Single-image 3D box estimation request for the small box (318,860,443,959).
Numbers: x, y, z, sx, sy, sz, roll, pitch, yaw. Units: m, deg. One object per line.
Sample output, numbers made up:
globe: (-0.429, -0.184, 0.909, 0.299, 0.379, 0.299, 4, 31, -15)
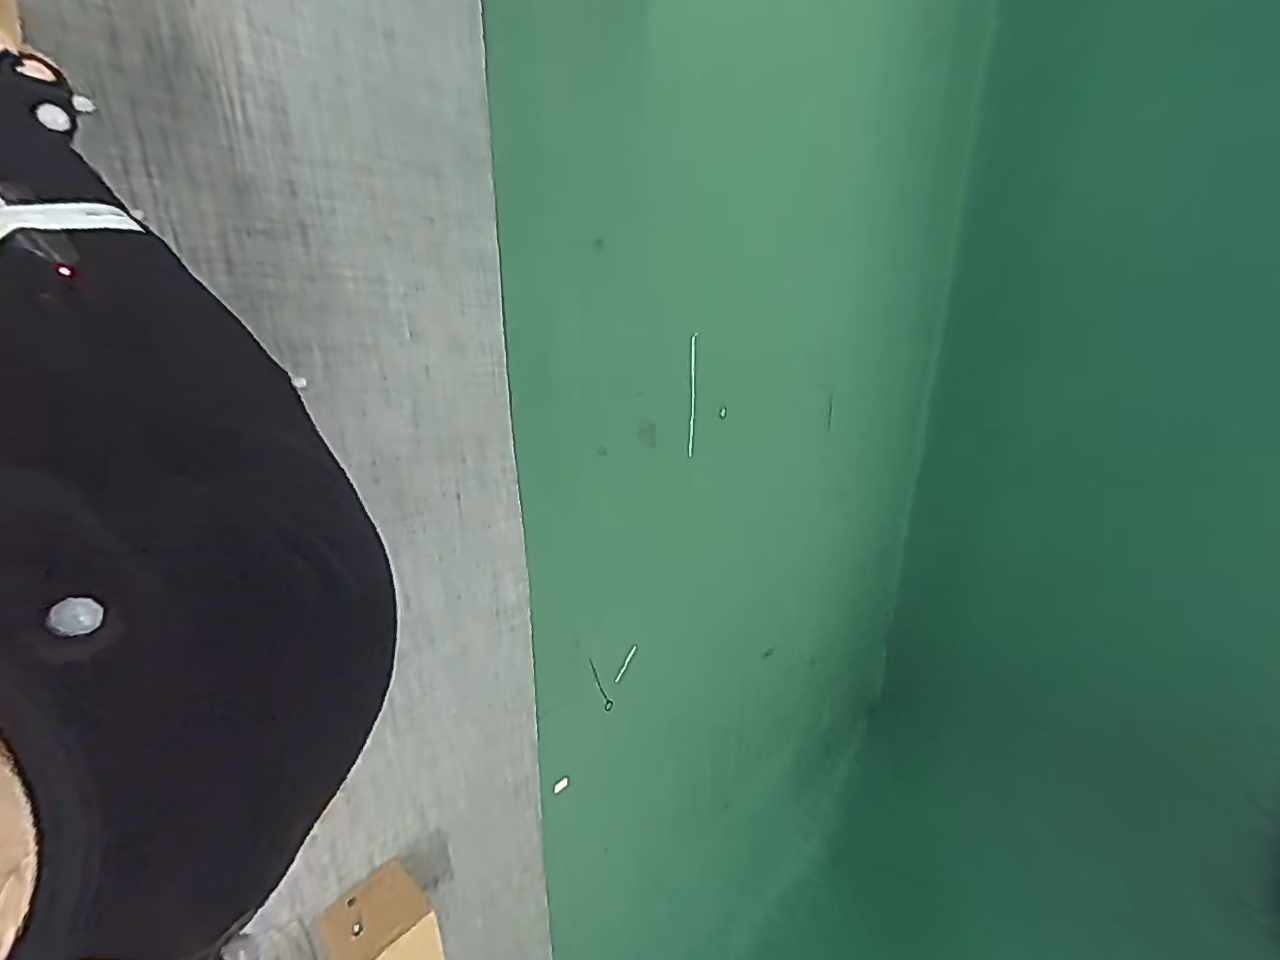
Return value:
small box: (-0.527, 0.925, 1.098, 0.168, 0.176, 0.179, -21, 118, -43)
